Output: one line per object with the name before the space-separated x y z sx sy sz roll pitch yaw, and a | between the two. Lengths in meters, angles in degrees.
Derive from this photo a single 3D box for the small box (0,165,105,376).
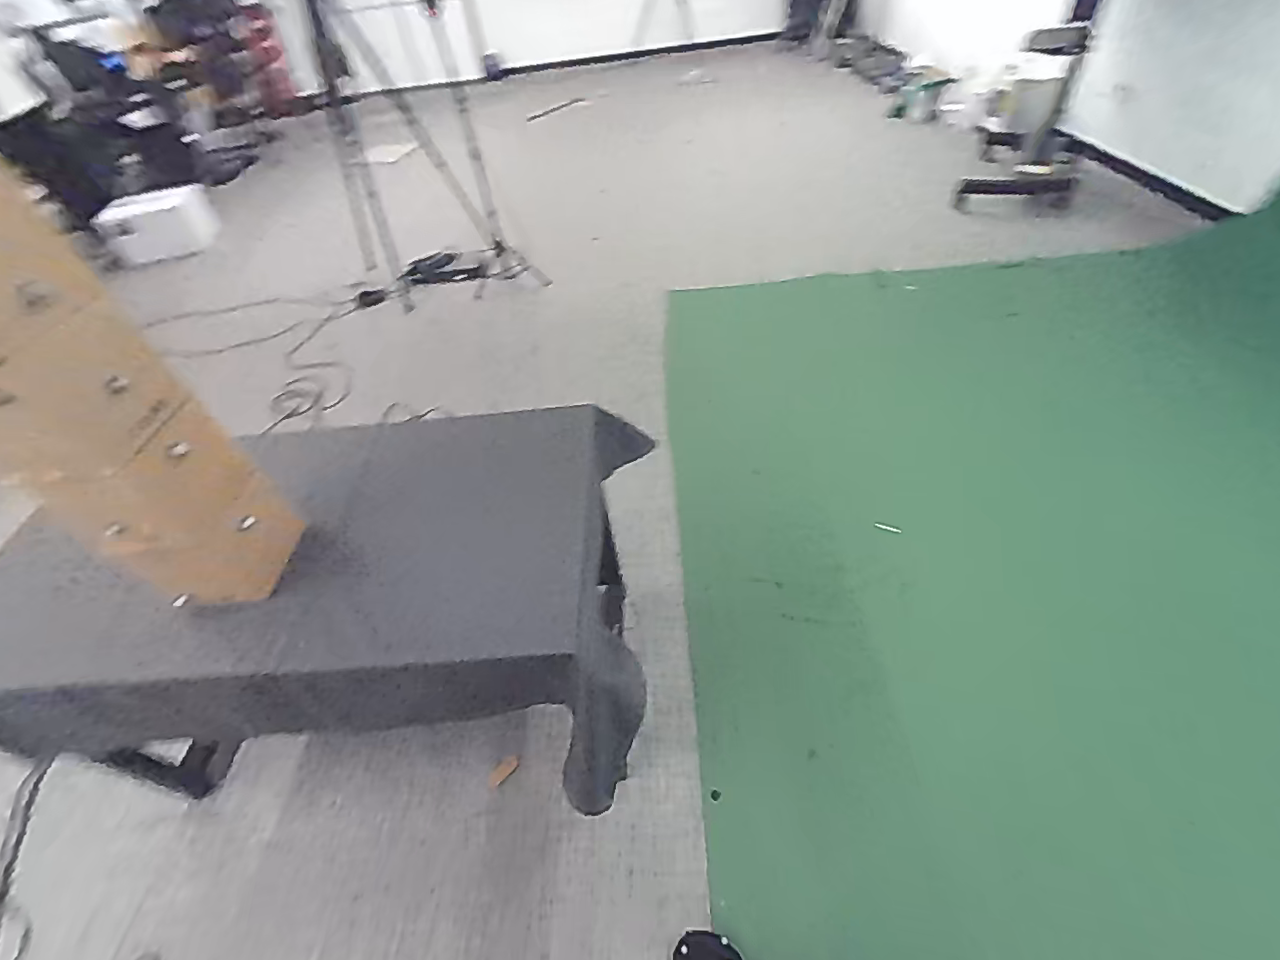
small box | -0.777 -0.232 0.607 0.168 0.176 0.179 -2 46 5
